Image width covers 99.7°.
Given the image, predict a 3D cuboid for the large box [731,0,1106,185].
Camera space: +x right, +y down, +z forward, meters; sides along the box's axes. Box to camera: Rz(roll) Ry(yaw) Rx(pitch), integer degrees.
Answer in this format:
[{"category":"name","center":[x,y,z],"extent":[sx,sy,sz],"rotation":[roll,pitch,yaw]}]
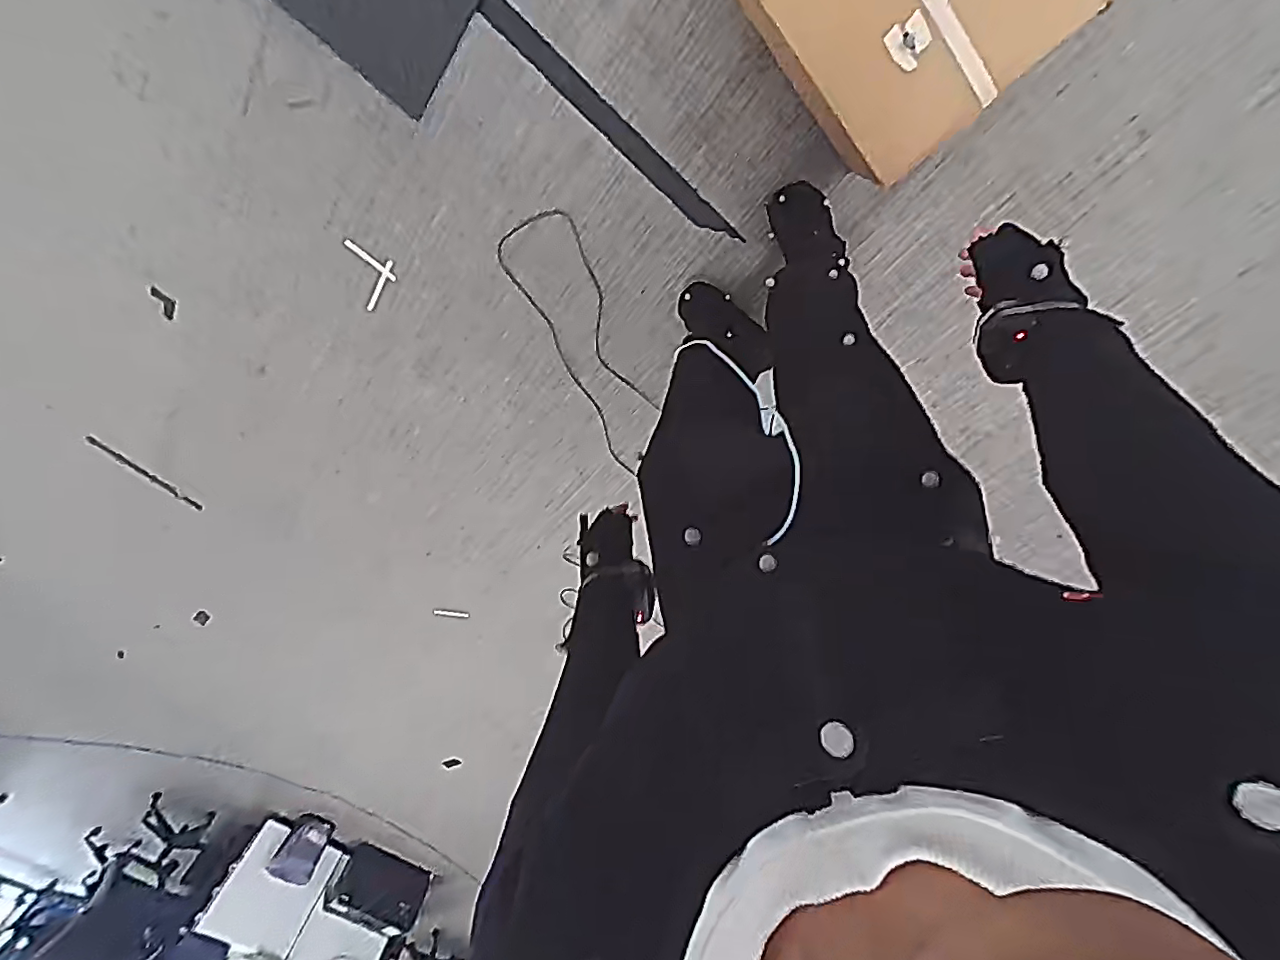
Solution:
[{"category":"large box","center":[0.365,-0.734,0.809],"extent":[0.320,0.320,0.408],"rotation":[-36,112,30]}]

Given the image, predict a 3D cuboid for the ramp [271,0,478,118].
[{"category":"ramp","center":[-0.687,-1.142,0.810],"extent":[0.991,0.206,0.509],"rotation":[38,121,-15]}]
